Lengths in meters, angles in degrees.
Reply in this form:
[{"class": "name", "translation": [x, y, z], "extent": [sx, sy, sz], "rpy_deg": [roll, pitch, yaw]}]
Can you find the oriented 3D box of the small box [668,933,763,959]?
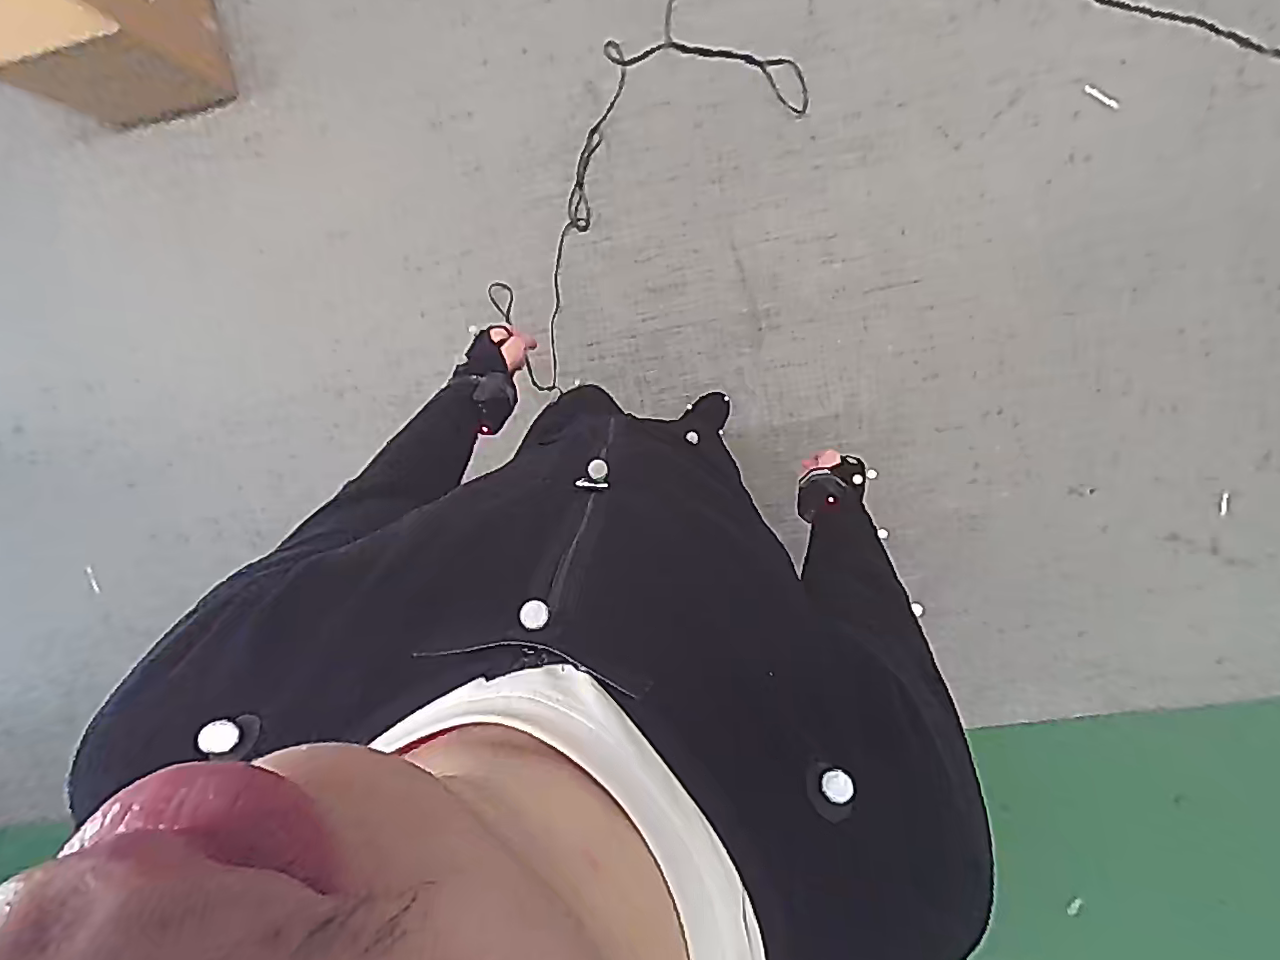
[{"class": "small box", "translation": [0.145, 0.932, 0.937], "extent": [0.168, 0.176, 0.179], "rpy_deg": [-14, 100, 7]}]
